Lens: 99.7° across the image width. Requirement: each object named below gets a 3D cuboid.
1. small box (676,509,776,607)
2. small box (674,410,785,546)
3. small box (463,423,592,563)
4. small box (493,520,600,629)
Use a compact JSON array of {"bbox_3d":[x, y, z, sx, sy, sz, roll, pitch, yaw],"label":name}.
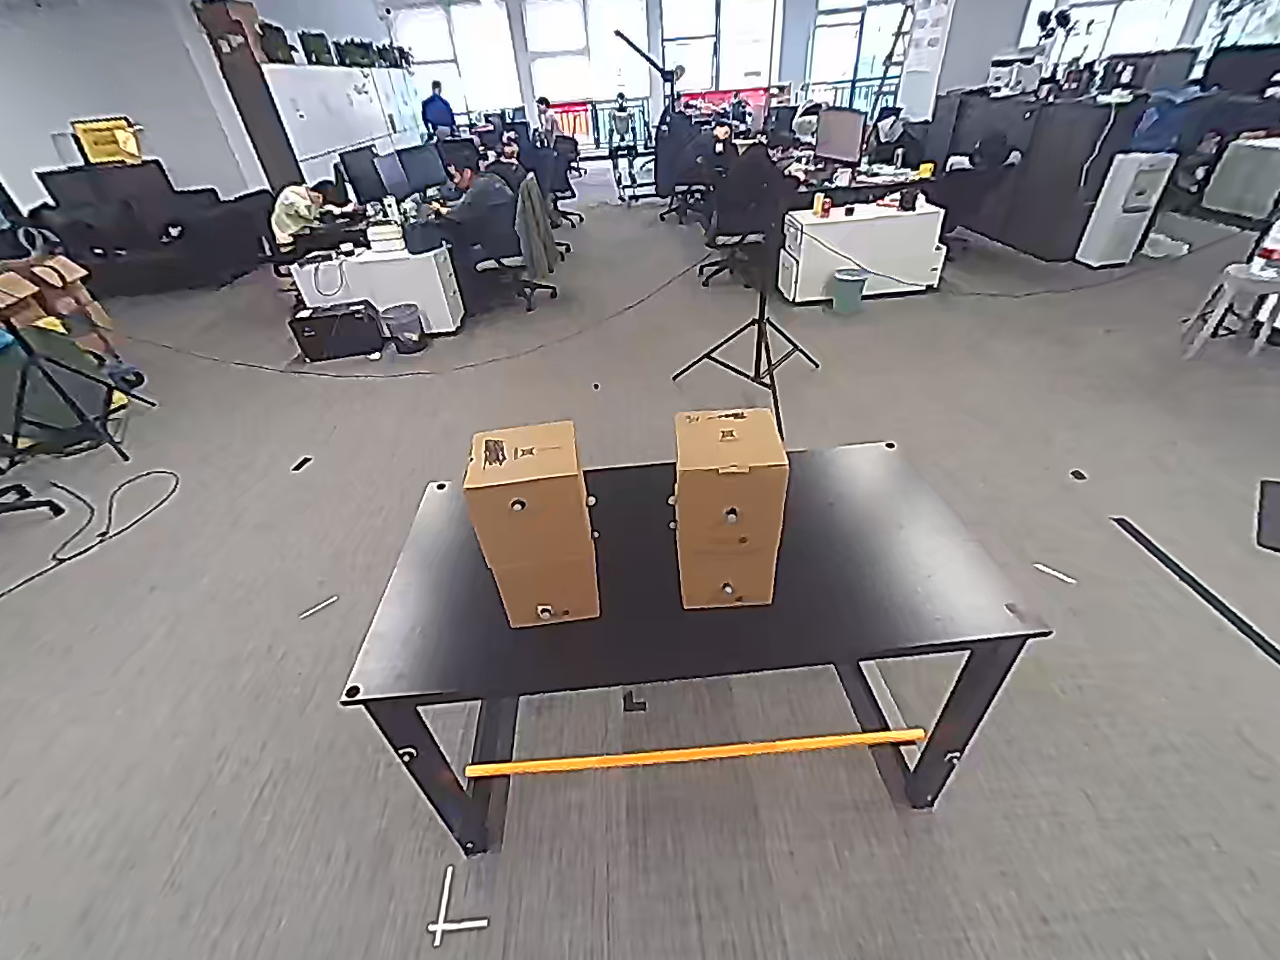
[{"bbox_3d":[0.155,0.120,1.028,0.168,0.176,0.179,-4,37,2],"label":"small box"},{"bbox_3d":[0.144,0.000,0.915,0.168,0.176,0.179,-2,37,4],"label":"small box"},{"bbox_3d":[-0.184,0.024,0.923,0.179,0.176,0.168,-8,37,-4],"label":"small box"},{"bbox_3d":[-0.171,0.153,1.024,0.168,0.176,0.179,-9,38,-3],"label":"small box"}]
